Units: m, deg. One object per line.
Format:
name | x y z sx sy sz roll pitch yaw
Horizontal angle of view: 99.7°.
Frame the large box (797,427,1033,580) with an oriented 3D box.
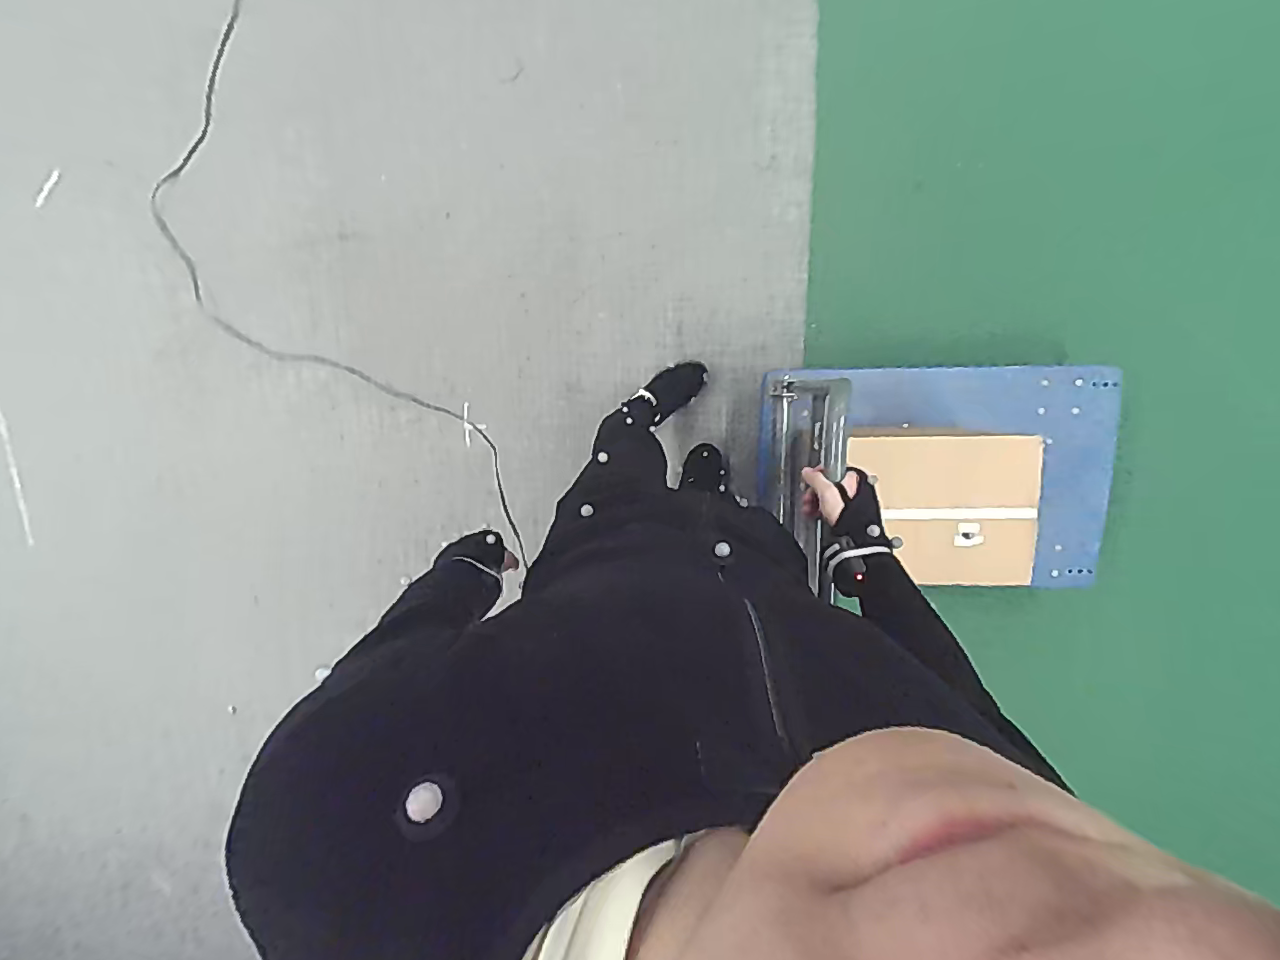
large box | 0.603 0.037 1.265 0.408 0.320 0.320 0 99 3
